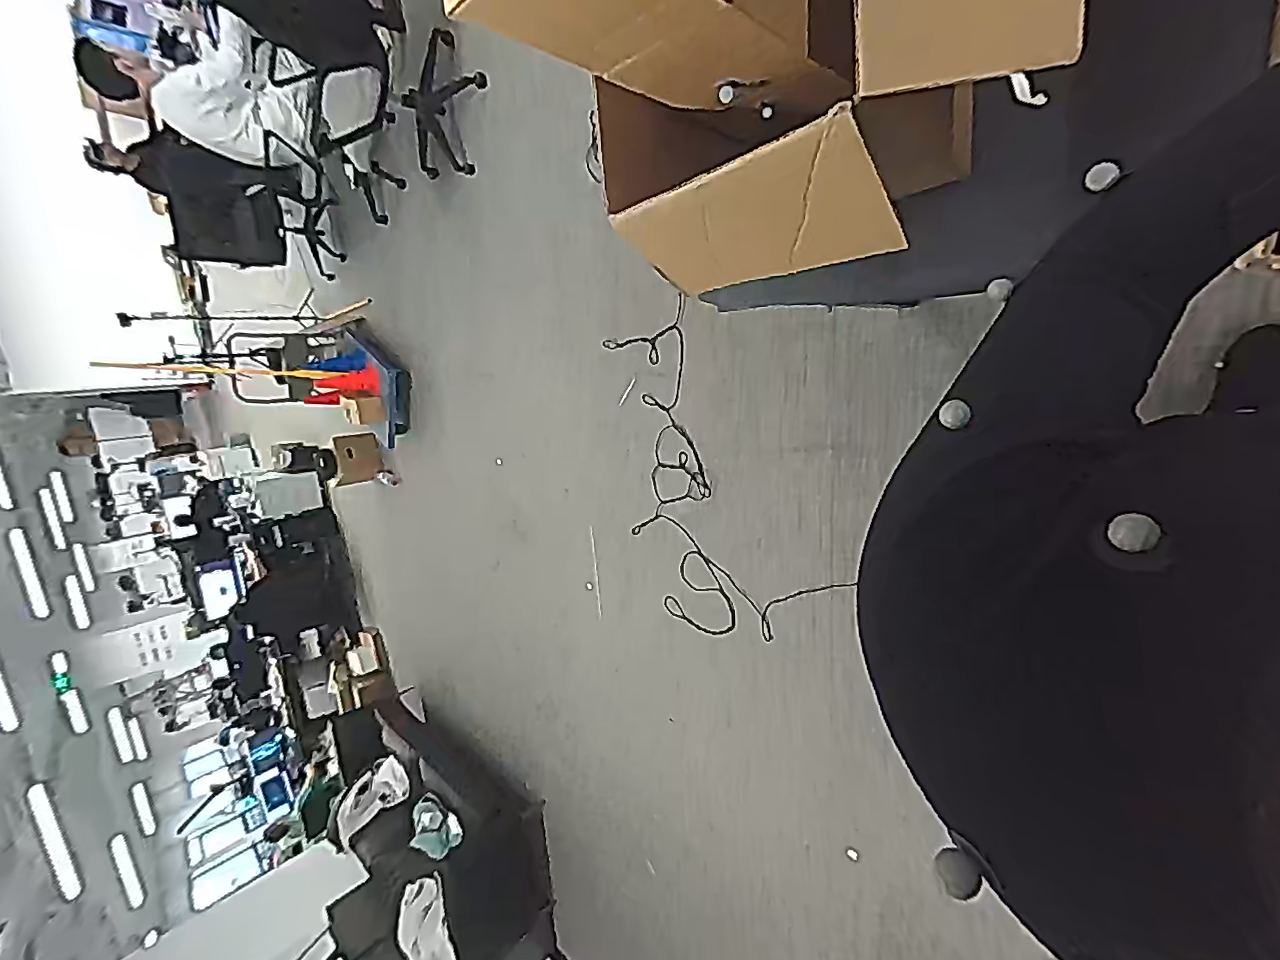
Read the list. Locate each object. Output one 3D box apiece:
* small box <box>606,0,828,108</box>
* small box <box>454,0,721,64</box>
[{"bbox_3d":[0.076,-0.510,0.539,0.168,0.176,0.179,12,112,43],"label":"small box"},{"bbox_3d":[-0.038,-0.474,0.430,0.179,0.176,0.168,13,111,43],"label":"small box"}]
